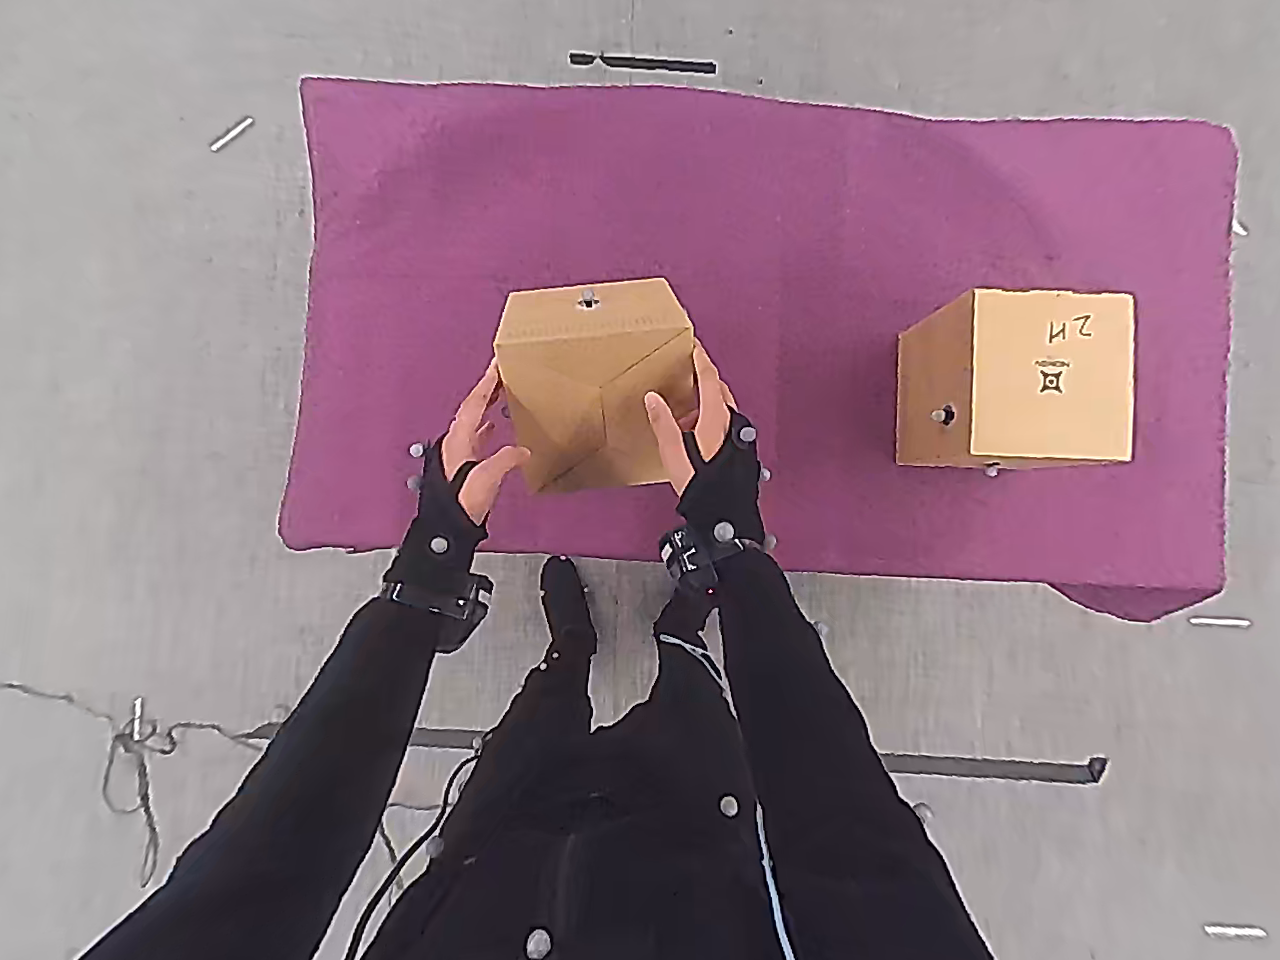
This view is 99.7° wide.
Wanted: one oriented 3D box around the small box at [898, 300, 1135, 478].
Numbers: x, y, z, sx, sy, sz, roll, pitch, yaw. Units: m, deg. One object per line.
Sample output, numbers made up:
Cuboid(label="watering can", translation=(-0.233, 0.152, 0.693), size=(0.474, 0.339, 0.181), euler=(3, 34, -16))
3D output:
Cuboid(label="small box", translation=(0.425, -0.094, 0.638), size=(0.168, 0.176, 0.179), euler=(3, 88, 0))
